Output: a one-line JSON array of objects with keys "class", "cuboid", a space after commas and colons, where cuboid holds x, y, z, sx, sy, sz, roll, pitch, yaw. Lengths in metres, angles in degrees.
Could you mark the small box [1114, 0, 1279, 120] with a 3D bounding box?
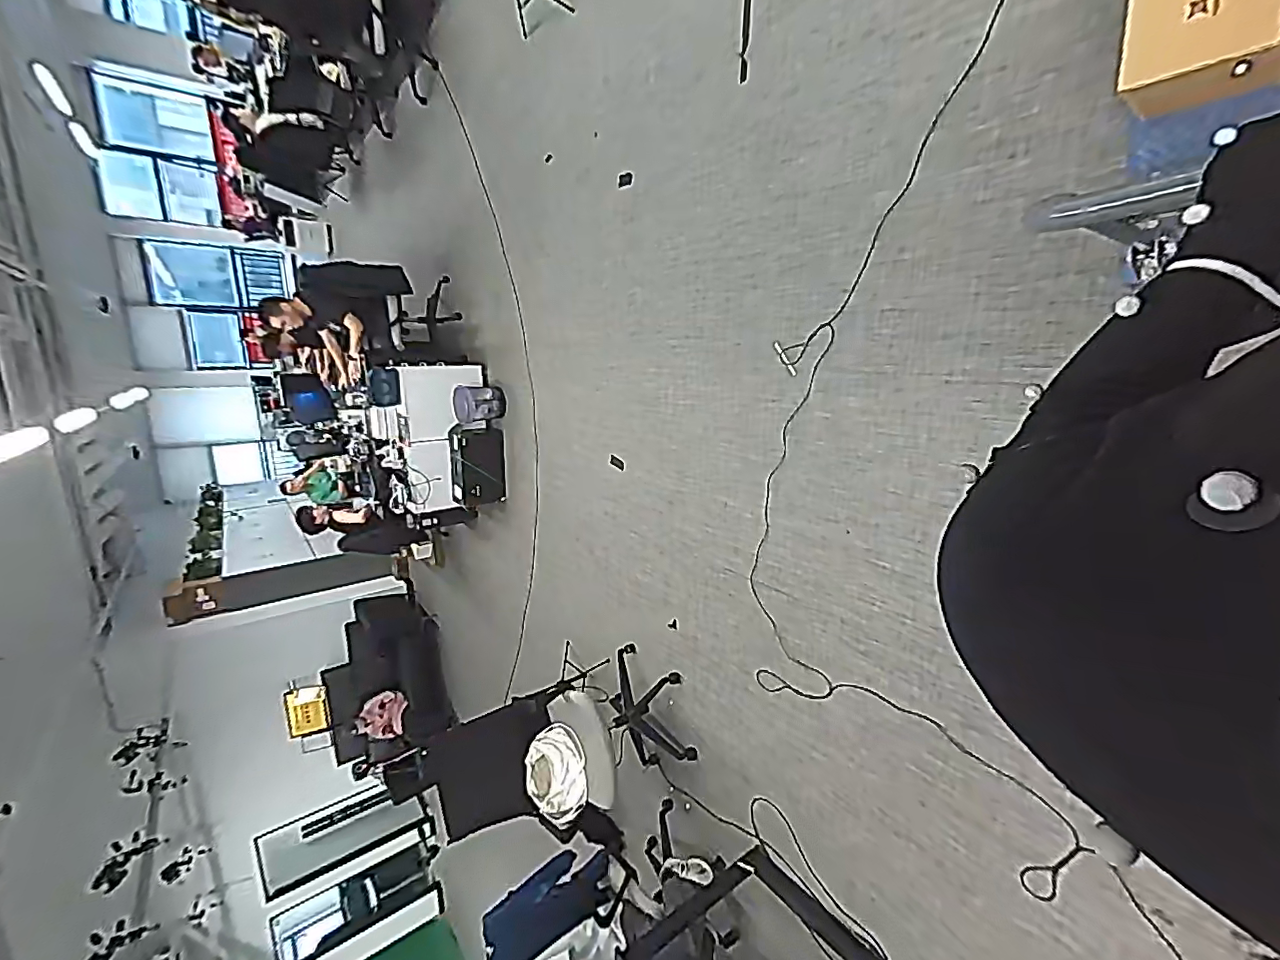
[{"class": "small box", "cuboid": [0.870, -0.687, 0.827, 0.179, 0.176, 0.168, 12, 108, 50]}]
